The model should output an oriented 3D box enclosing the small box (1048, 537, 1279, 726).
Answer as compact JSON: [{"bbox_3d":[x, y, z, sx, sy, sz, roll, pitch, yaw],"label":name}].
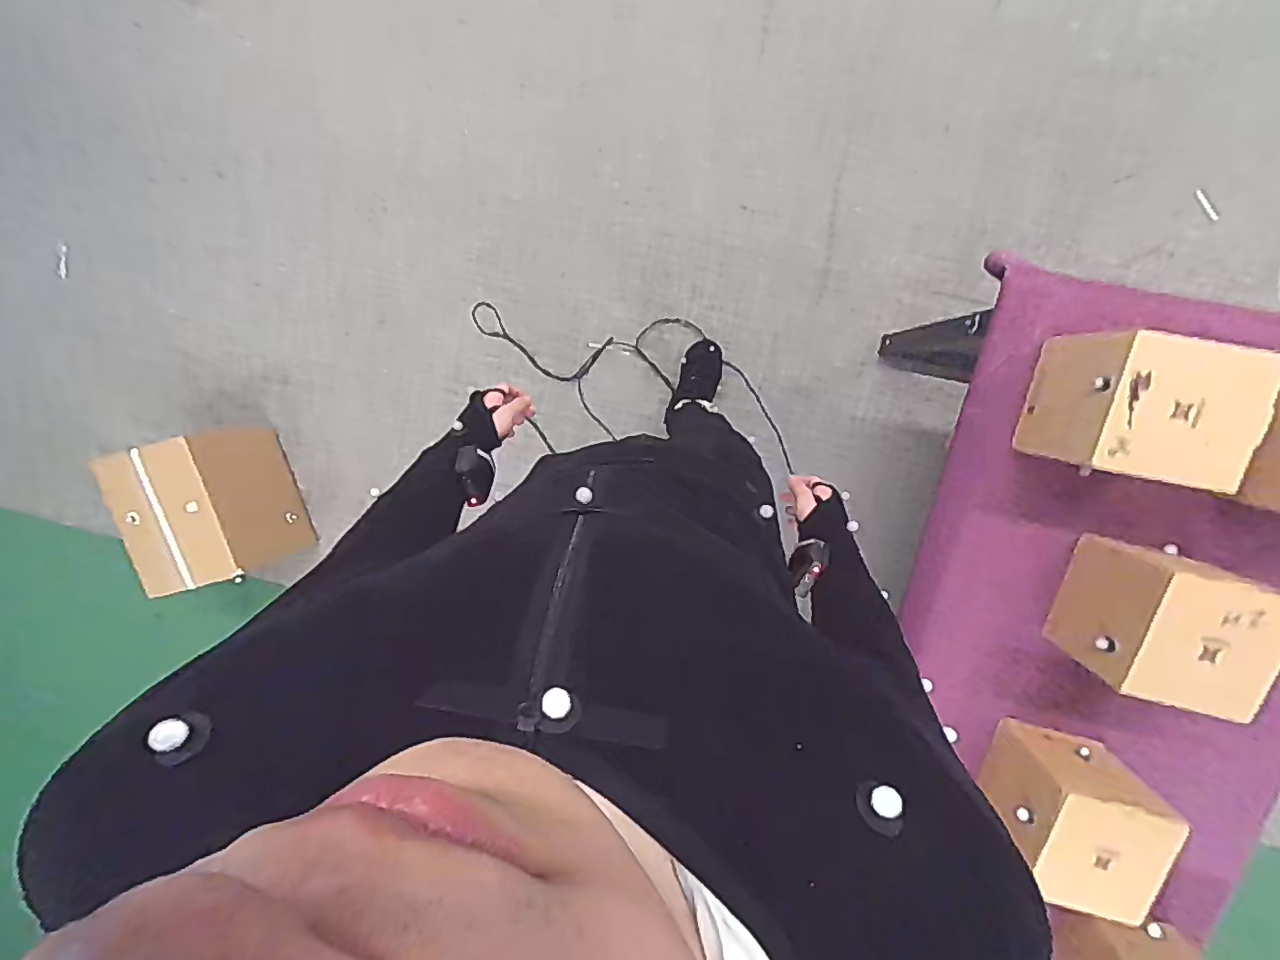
[{"bbox_3d":[0.726,0.201,0.761,0.168,0.176,0.179,14,102,3],"label":"small box"}]

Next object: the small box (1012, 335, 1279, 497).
[{"bbox_3d":[0.647,-0.089,0.713,0.179,0.176,0.168,11,101,2],"label":"small box"}]

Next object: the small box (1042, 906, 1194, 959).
[{"bbox_3d":[0.798,0.834,0.871,0.168,0.176,0.179,15,101,4],"label":"small box"}]

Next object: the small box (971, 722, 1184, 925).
[{"bbox_3d":[0.648,0.514,0.831,0.168,0.176,0.179,14,101,4],"label":"small box"}]
